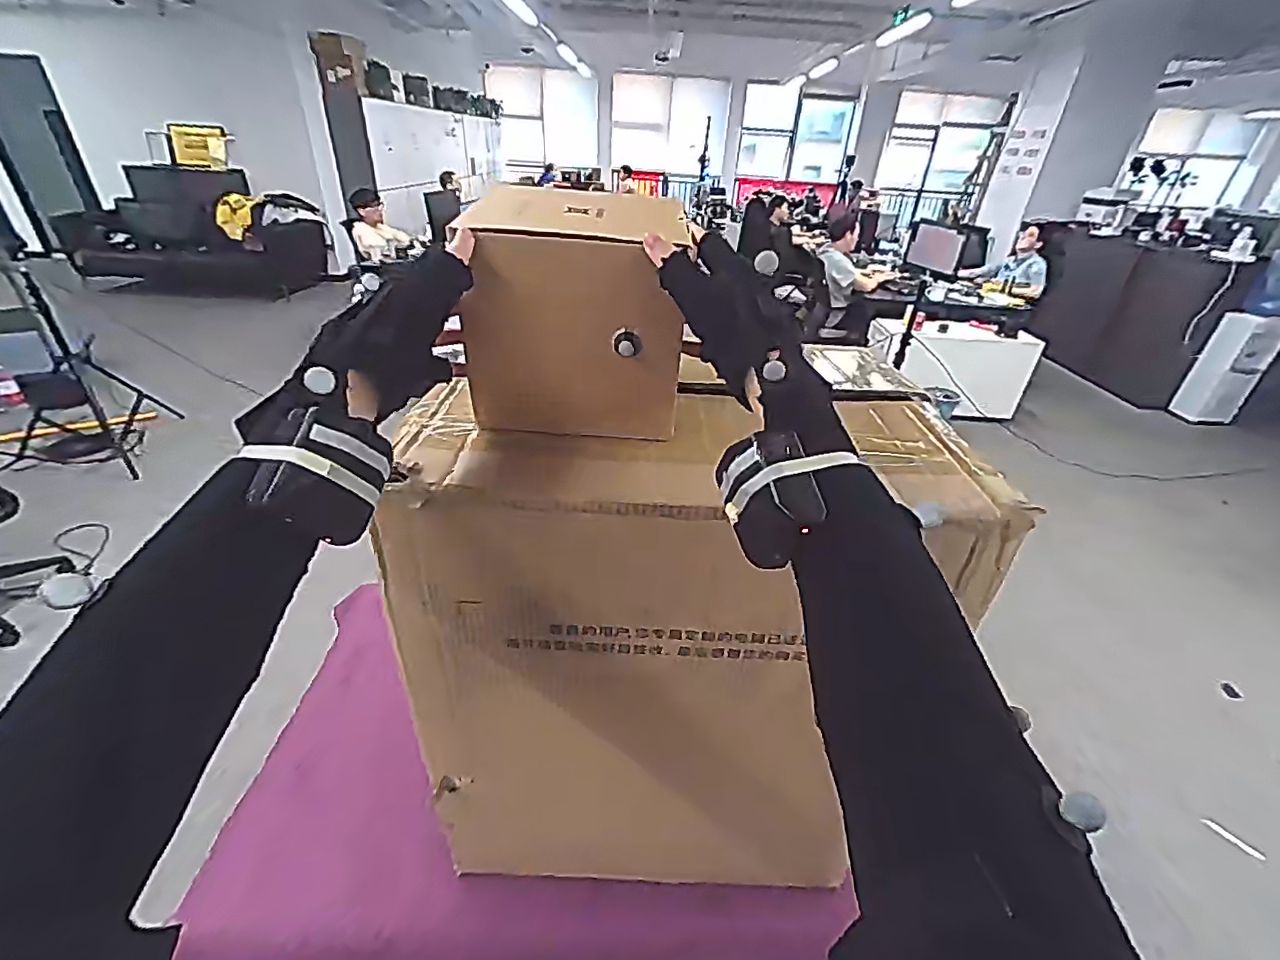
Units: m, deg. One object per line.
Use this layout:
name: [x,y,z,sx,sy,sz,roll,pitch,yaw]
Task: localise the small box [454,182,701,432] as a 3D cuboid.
small box: [-0.048,-0.155,0.488,0.179,0.176,0.168,3,36,-2]
